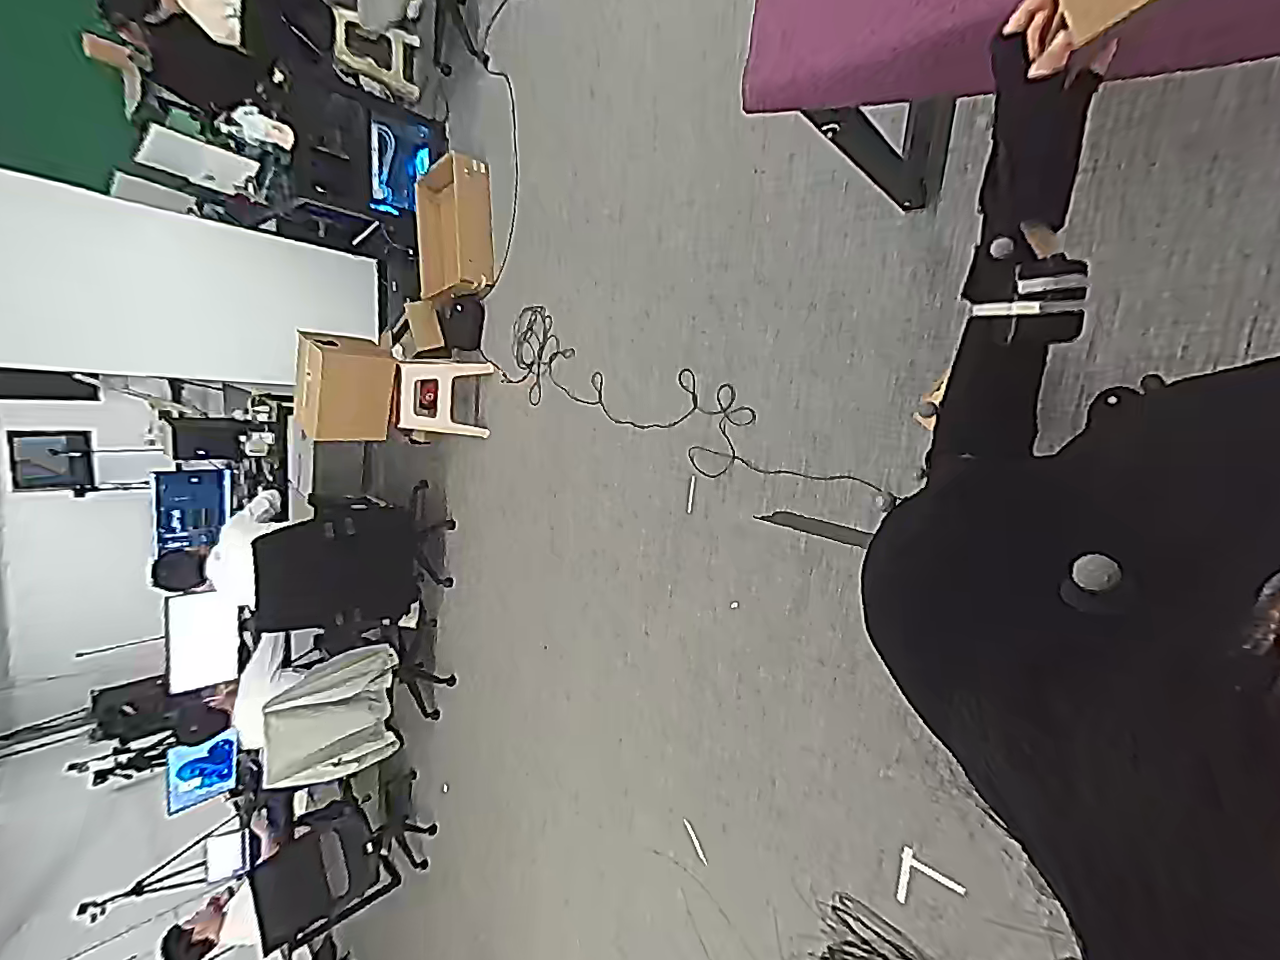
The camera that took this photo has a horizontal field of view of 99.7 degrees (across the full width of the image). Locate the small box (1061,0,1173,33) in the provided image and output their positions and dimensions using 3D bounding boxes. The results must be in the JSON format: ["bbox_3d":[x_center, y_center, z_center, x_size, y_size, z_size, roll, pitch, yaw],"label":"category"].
[{"bbox_3d":[0.321,-0.394,0.300,0.168,0.176,0.179,-18,106,50],"label":"small box"}]

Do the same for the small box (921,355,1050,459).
[{"bbox_3d":[0.795,-0.163,1.244,0.179,0.176,0.168,48,124,28],"label":"small box"}]
